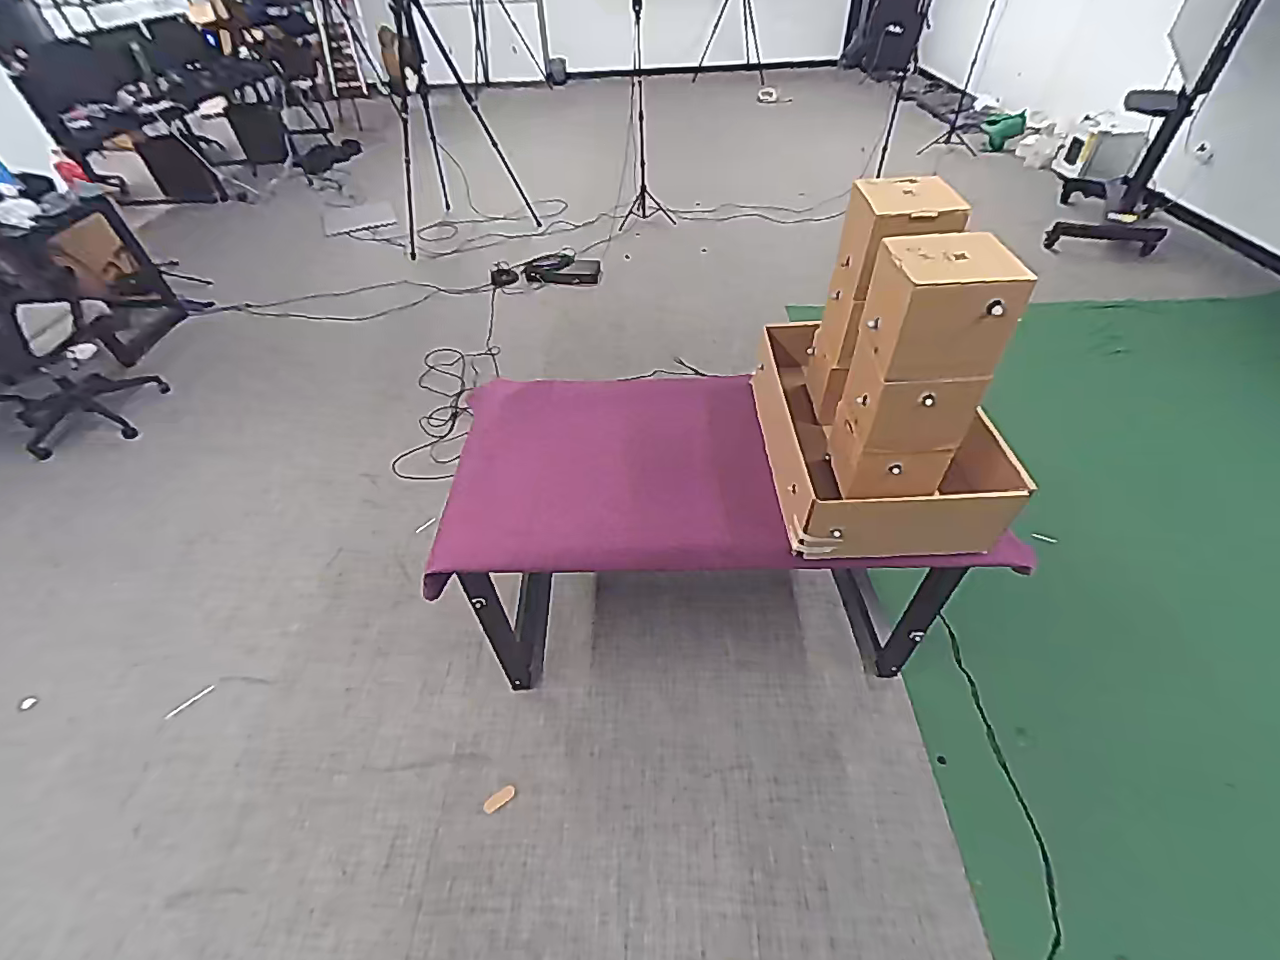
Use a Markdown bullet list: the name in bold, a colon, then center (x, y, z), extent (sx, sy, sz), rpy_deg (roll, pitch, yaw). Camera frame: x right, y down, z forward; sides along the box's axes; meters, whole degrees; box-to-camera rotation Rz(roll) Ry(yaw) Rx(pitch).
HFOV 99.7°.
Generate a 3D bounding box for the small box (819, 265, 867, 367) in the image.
- **small box**: center (0.503, -0.357, 1.187), extent (0.168, 0.176, 0.179), rpy_deg (-1, 47, 3)

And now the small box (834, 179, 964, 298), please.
- **small box**: center (0.497, -0.470, 1.067), extent (0.168, 0.176, 0.179), rpy_deg (0, 48, 3)

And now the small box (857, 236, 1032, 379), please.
- **small box**: center (0.480, -0.279, 0.885), extent (0.179, 0.176, 0.168), rpy_deg (-1, 46, 3)

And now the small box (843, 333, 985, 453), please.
- **small box**: center (0.489, -0.163, 1.002), extent (0.179, 0.176, 0.168), rpy_deg (0, 46, 4)
